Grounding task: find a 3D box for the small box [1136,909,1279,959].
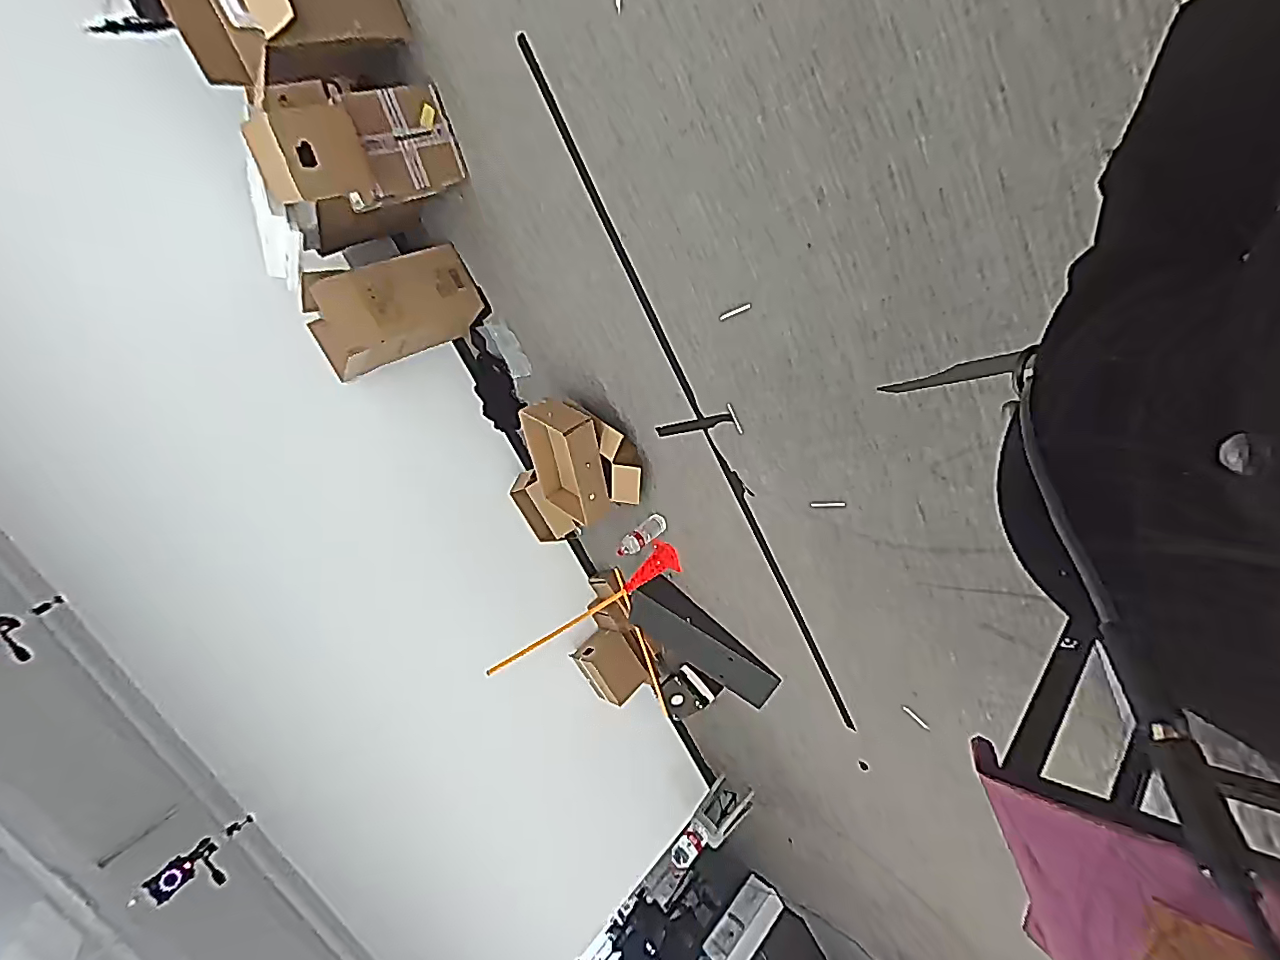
[{"bbox_3d":[0.948,0.863,0.889,0.179,0.176,0.168,-3,119,55],"label":"small box"}]
